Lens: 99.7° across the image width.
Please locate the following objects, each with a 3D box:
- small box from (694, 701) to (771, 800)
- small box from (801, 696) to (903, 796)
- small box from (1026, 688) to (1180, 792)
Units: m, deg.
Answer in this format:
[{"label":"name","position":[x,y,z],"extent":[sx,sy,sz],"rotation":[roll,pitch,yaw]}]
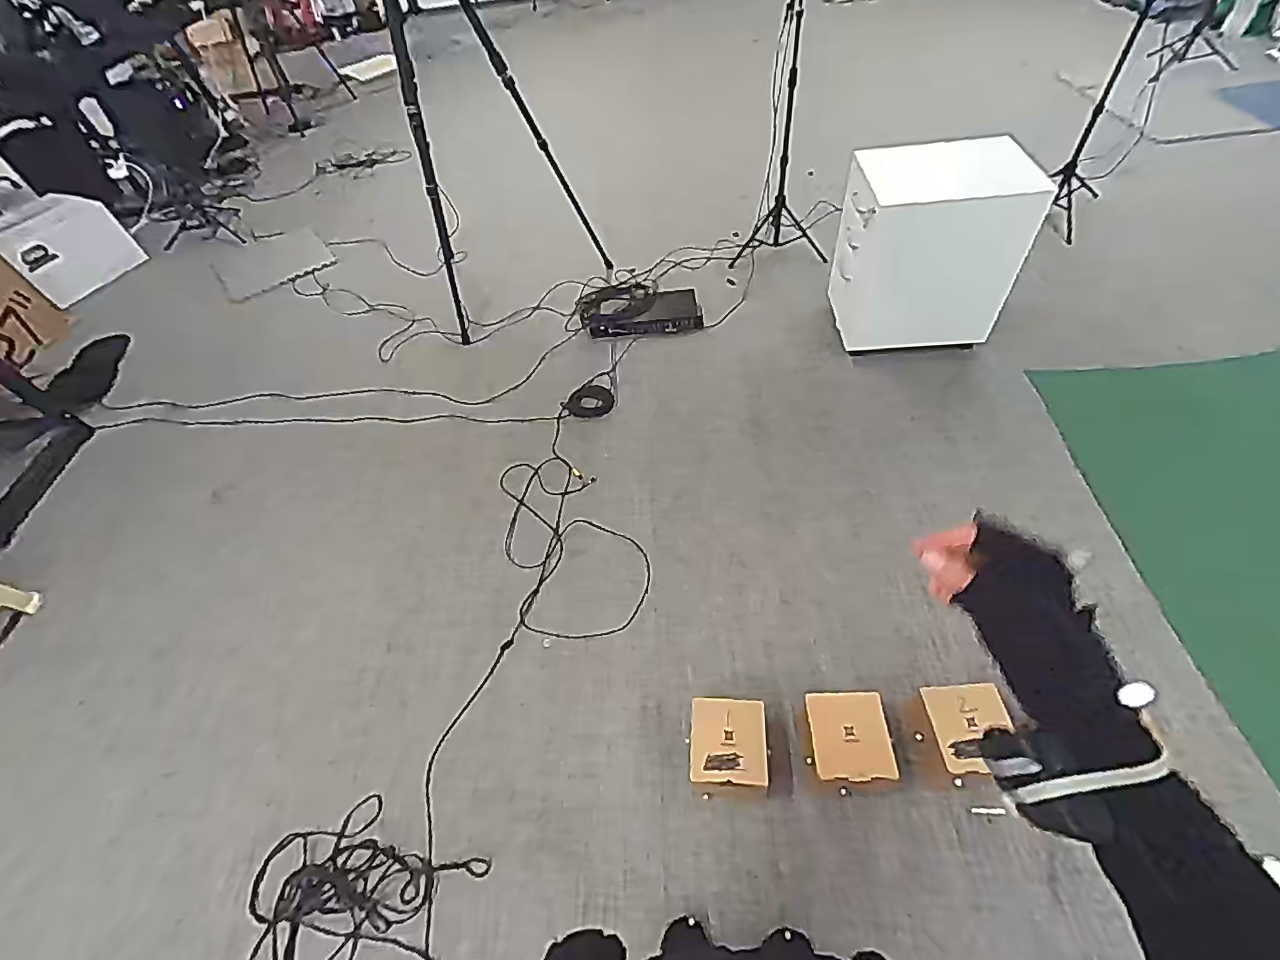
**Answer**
[{"label":"small box","position":[0.214,0.632,1.258],"extent":[0.168,0.176,0.179],"rotation":[0,52,8]},{"label":"small box","position":[0.474,0.610,1.239],"extent":[0.168,0.176,0.179],"rotation":[-4,52,6]},{"label":"small box","position":[1.000,0.575,1.192],"extent":[0.168,0.176,0.179],"rotation":[-4,52,6]}]
